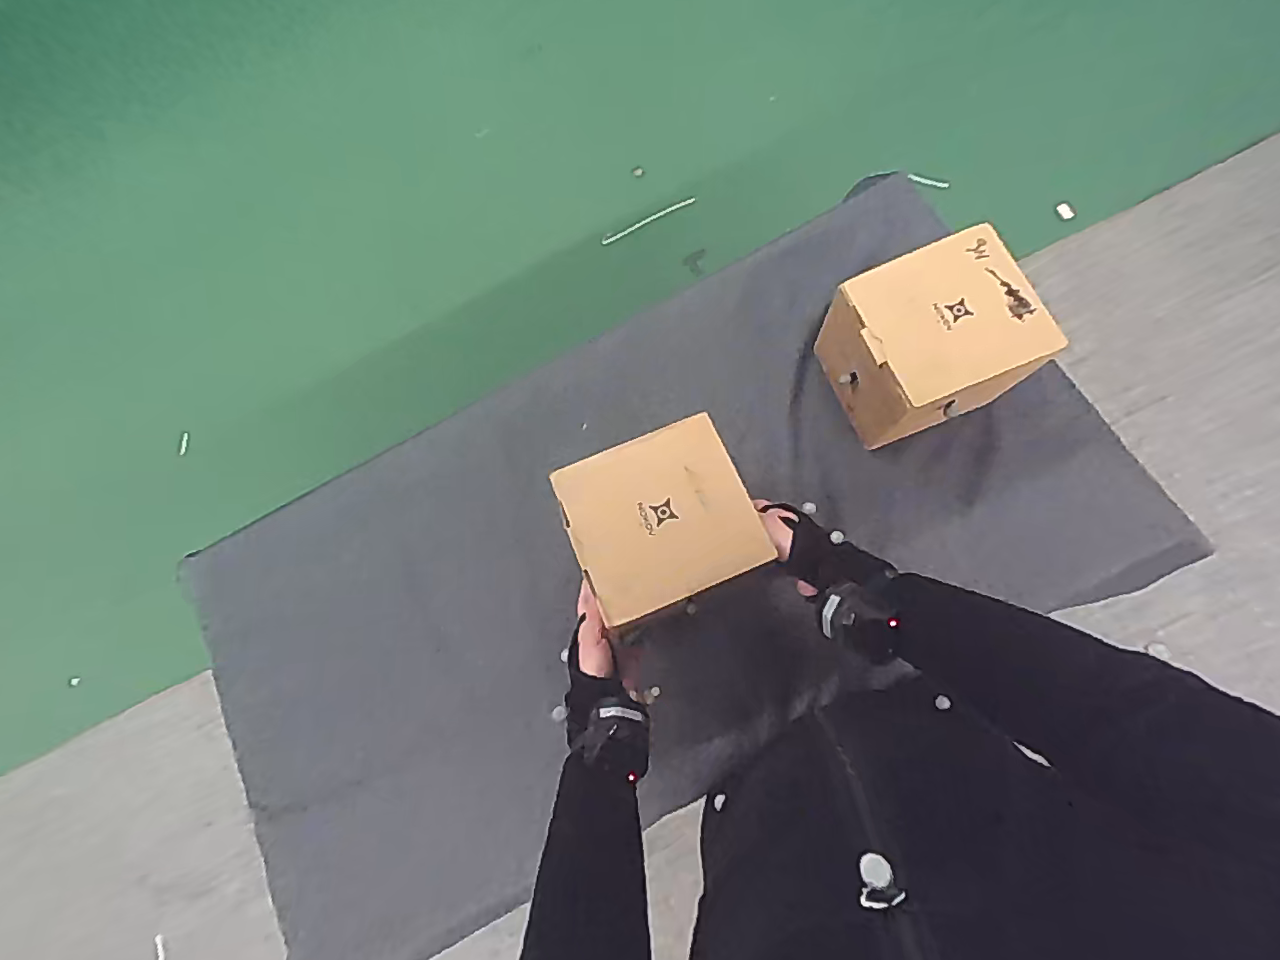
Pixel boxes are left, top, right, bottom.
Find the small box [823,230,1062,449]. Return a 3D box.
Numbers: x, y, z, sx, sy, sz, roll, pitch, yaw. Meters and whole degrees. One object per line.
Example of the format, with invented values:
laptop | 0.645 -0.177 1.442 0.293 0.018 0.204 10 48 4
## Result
small box | 0.339 -0.155 0.656 0.179 0.176 0.168 -22 76 2
